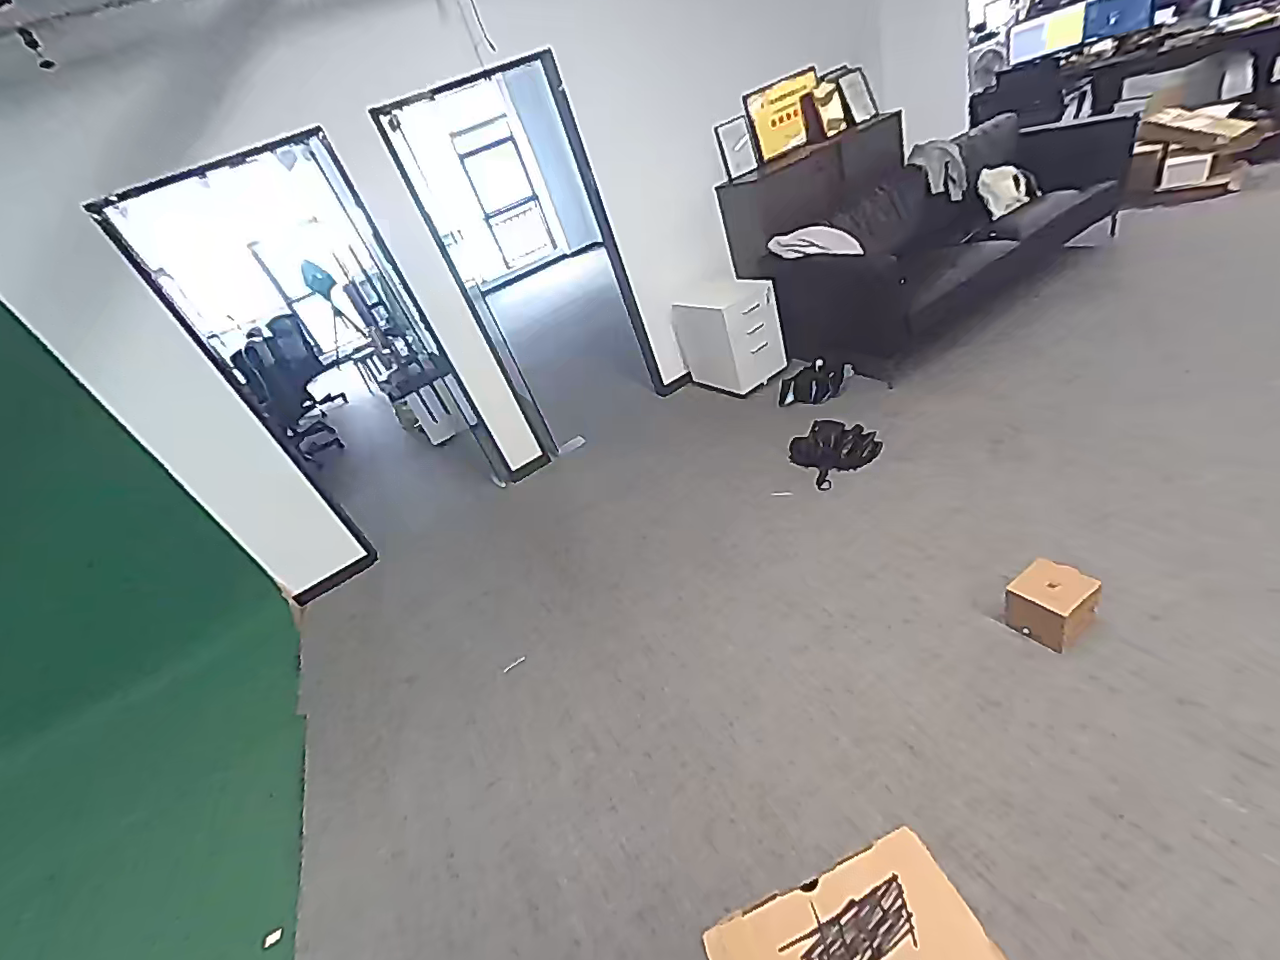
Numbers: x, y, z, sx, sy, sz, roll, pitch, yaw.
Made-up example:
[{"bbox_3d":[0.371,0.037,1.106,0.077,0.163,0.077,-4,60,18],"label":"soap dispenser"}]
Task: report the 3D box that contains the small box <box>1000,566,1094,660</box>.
[{"bbox_3d":[1.206,0.396,1.615,0.179,0.176,0.168,-33,32,-16],"label":"small box"}]
